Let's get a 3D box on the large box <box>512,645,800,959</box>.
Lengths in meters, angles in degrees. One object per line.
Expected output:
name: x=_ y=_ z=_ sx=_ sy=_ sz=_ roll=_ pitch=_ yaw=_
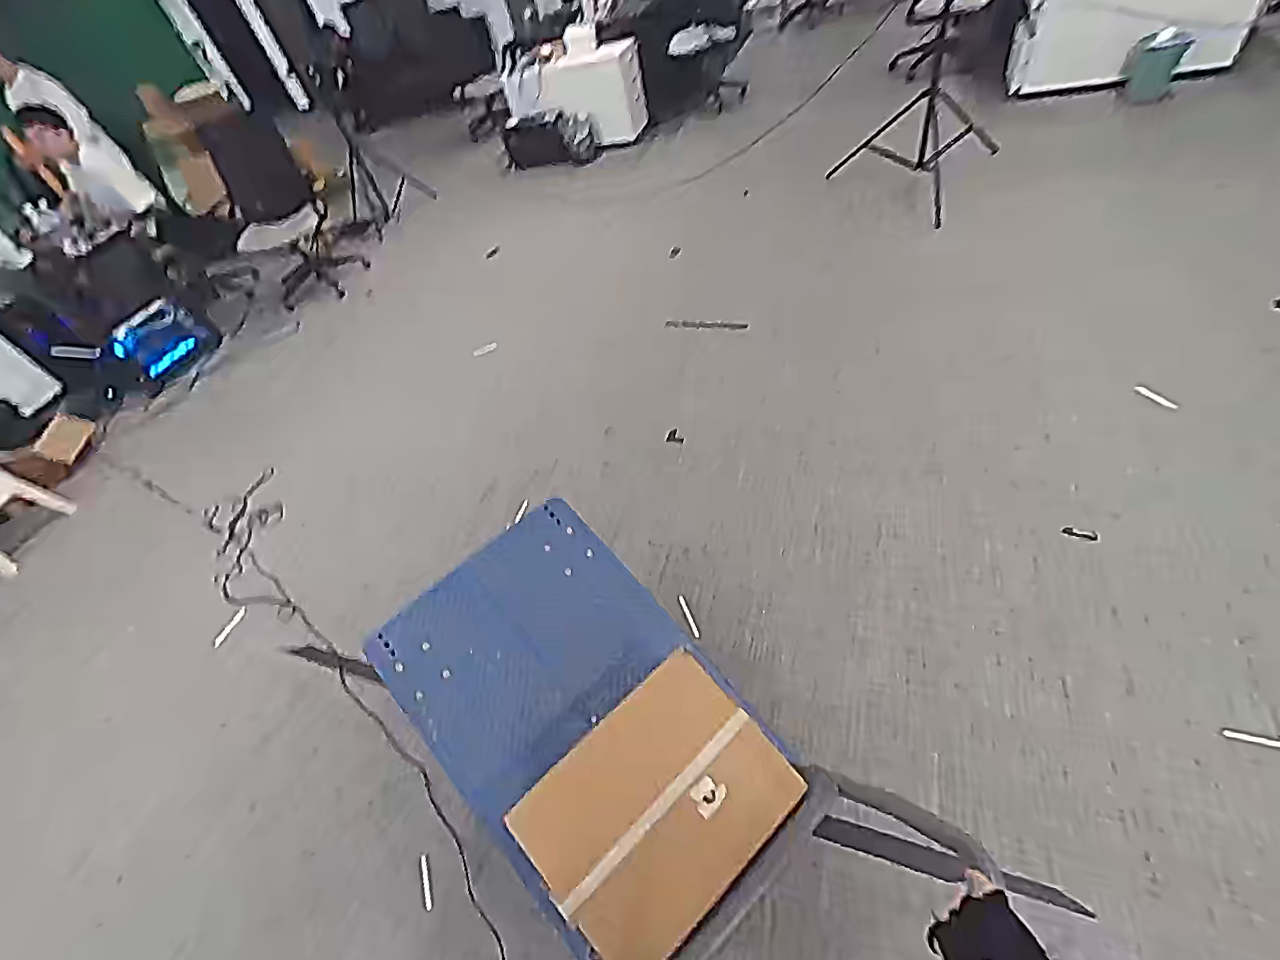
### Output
large box: x=0.022 y=0.591 z=1.039 sx=0.408 sy=0.320 sz=0.320 roll=-40 pitch=75 yaw=-20
